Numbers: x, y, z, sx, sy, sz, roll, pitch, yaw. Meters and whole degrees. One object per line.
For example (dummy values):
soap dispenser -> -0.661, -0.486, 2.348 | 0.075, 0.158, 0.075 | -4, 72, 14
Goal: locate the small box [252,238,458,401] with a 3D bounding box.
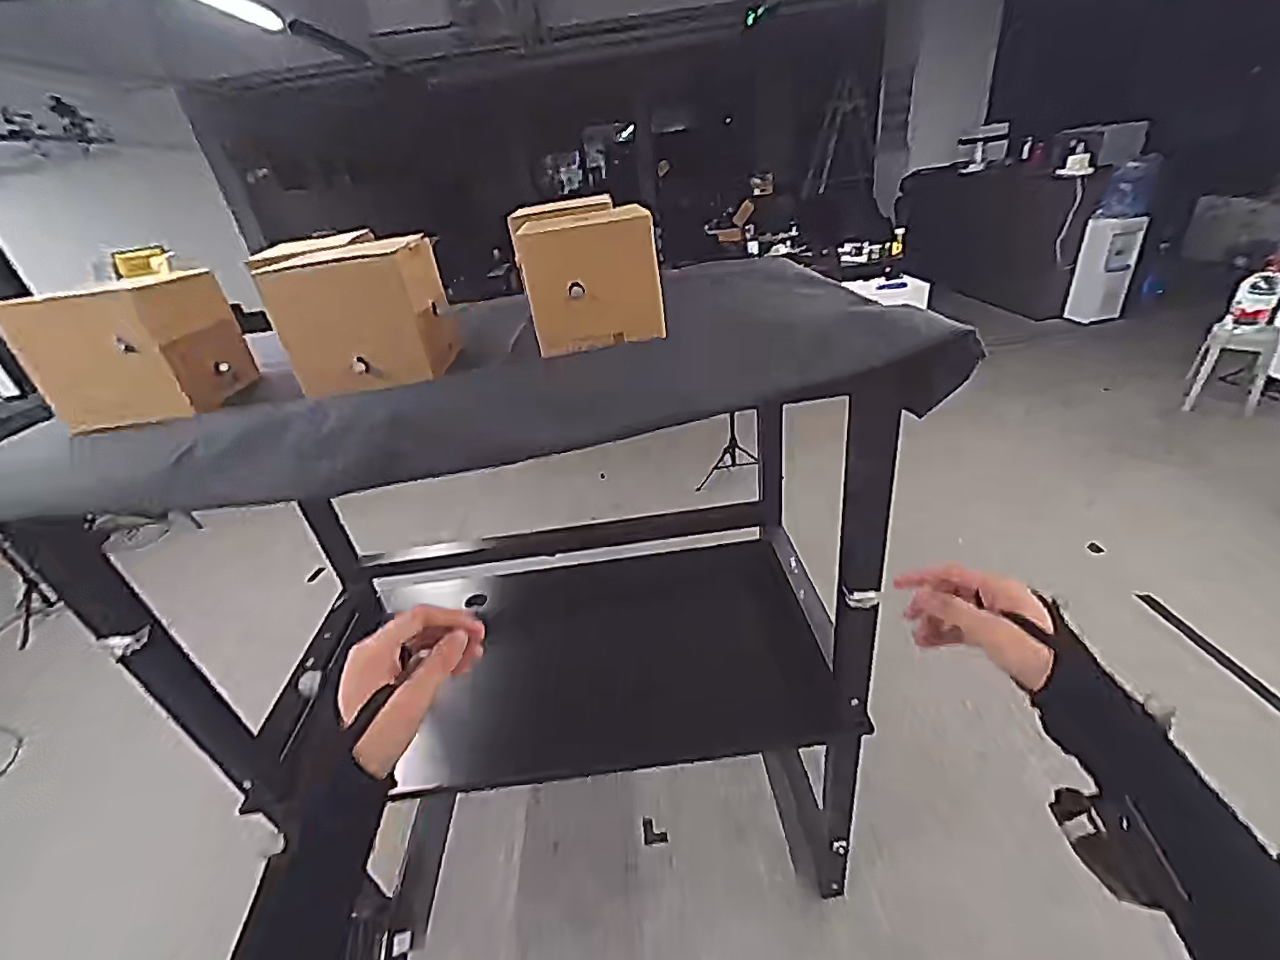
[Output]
small box -> -0.370, -0.224, 0.748 | 0.179, 0.176, 0.168 | -8, 30, 0

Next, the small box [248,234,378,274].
small box -> -0.553, -0.336, 0.982 | 0.168, 0.176, 0.179 | -13, 31, -4

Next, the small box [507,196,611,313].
small box -> -0.127, -0.412, 0.995 | 0.179, 0.176, 0.168 | -8, 32, 1

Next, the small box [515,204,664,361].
small box -> -0.065, -0.273, 0.750 | 0.168, 0.176, 0.179 | -10, 30, -1
